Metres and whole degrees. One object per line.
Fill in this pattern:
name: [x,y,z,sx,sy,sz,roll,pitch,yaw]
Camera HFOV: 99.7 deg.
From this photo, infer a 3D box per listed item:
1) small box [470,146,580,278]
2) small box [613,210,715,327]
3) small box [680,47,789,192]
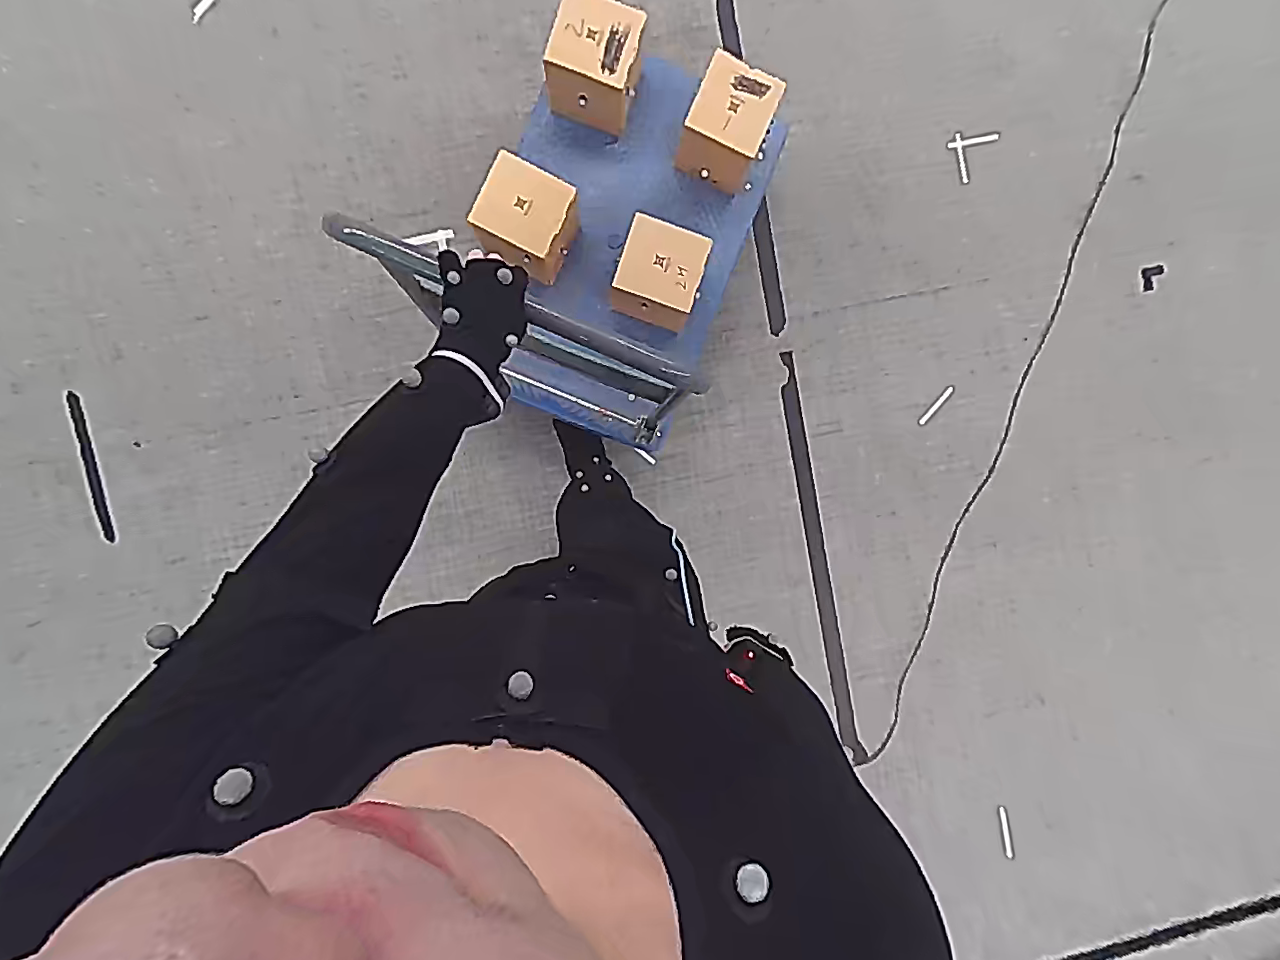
small box: [-0.243,-0.572,1.183,0.179,0.176,0.168,26,89,-6]
small box: [0.045,-0.460,1.207,0.179,0.176,0.168,19,91,-5]
small box: [0.200,-0.792,1.207,0.168,0.176,0.179,24,91,-4]
